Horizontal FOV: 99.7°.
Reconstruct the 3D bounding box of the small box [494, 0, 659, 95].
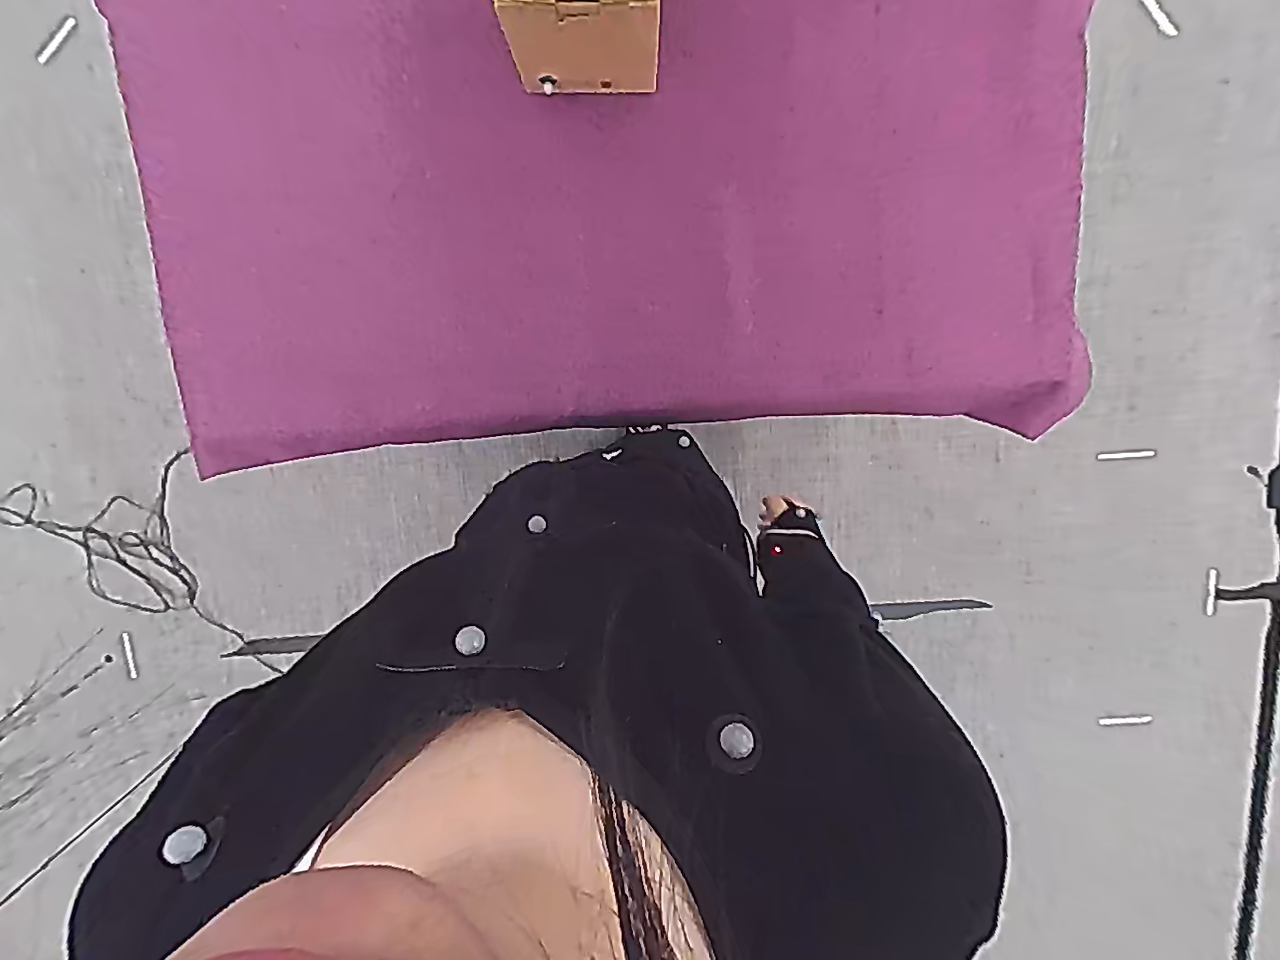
[{"bbox_3d":[-0.061,-0.559,0.597,0.168,0.176,0.179,0,99,-1],"label":"small box"}]
